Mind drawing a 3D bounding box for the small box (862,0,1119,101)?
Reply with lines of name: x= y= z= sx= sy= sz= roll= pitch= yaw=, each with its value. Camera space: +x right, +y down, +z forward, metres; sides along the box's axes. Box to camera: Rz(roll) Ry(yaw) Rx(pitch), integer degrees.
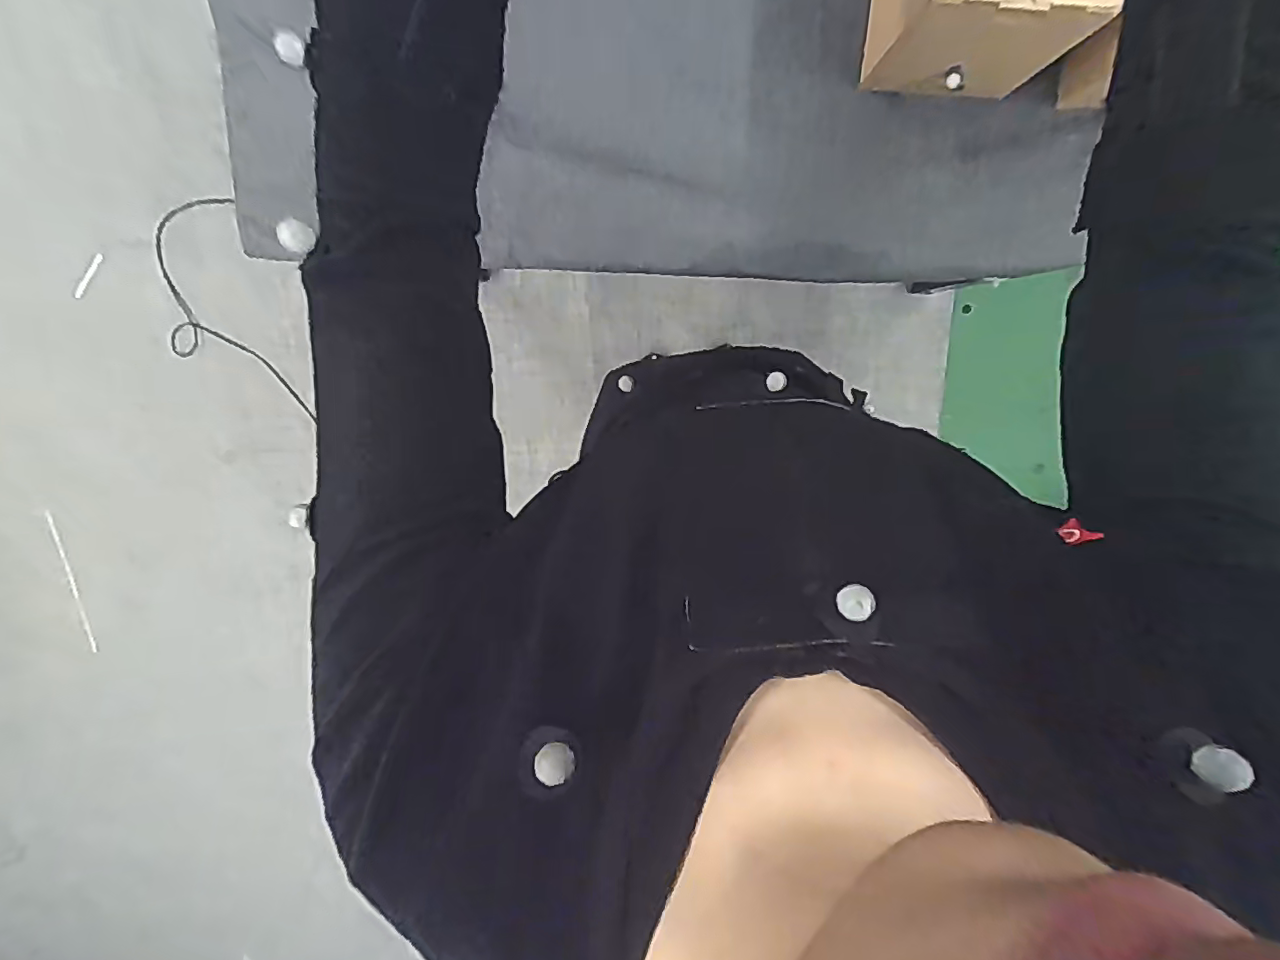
small box: x=0.333 y=-0.506 z=0.520 sx=0.168 sy=0.176 sz=0.179 roll=4 pitch=104 yaw=1
